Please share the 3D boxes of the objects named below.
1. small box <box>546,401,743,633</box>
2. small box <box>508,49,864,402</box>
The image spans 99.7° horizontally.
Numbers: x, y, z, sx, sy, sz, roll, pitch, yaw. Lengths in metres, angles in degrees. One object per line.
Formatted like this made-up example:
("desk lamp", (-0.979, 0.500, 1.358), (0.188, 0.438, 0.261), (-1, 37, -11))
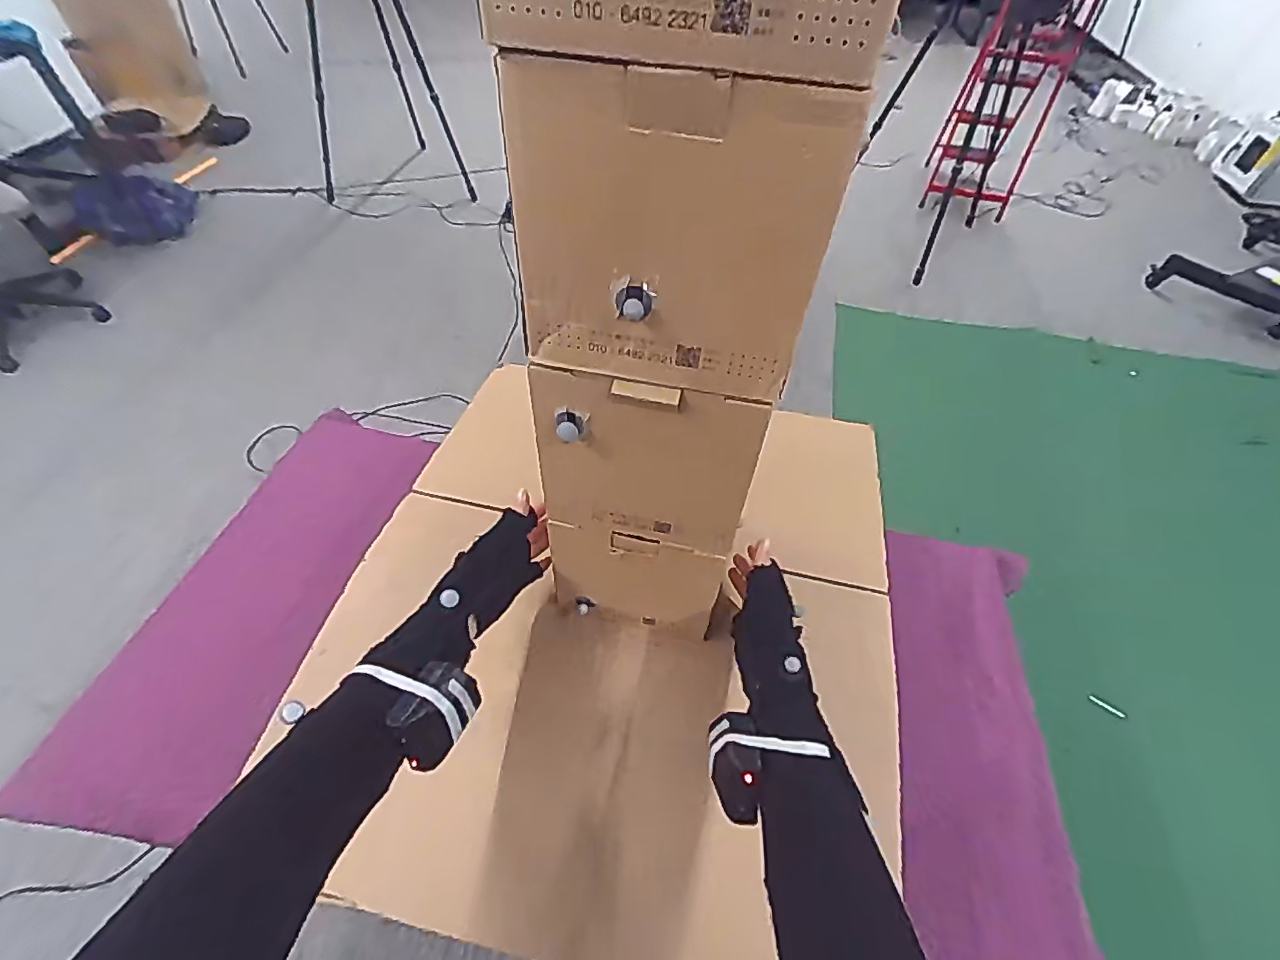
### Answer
("small box", (0.009, 0.043, 0.593), (0.168, 0.176, 0.179), (12, 48, 6))
("small box", (0.028, -0.179, 0.353), (0.168, 0.176, 0.179), (10, 48, 5))
